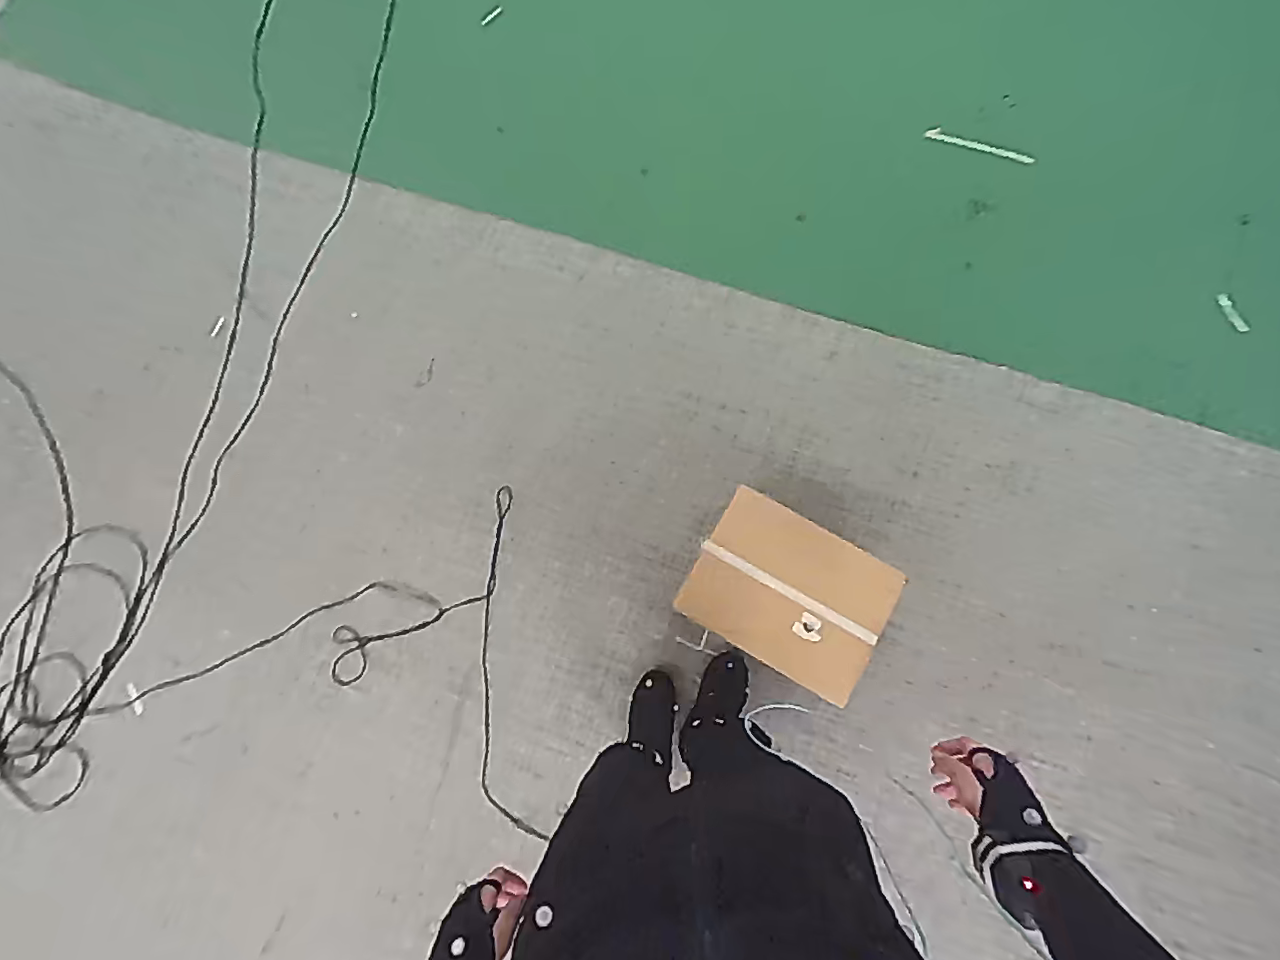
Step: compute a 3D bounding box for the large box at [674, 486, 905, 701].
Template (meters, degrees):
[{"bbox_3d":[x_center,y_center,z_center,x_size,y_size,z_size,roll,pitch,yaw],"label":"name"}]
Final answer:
[{"bbox_3d":[0.326,0.260,1.299,0.408,0.320,0.320,29,83,8],"label":"large box"}]
